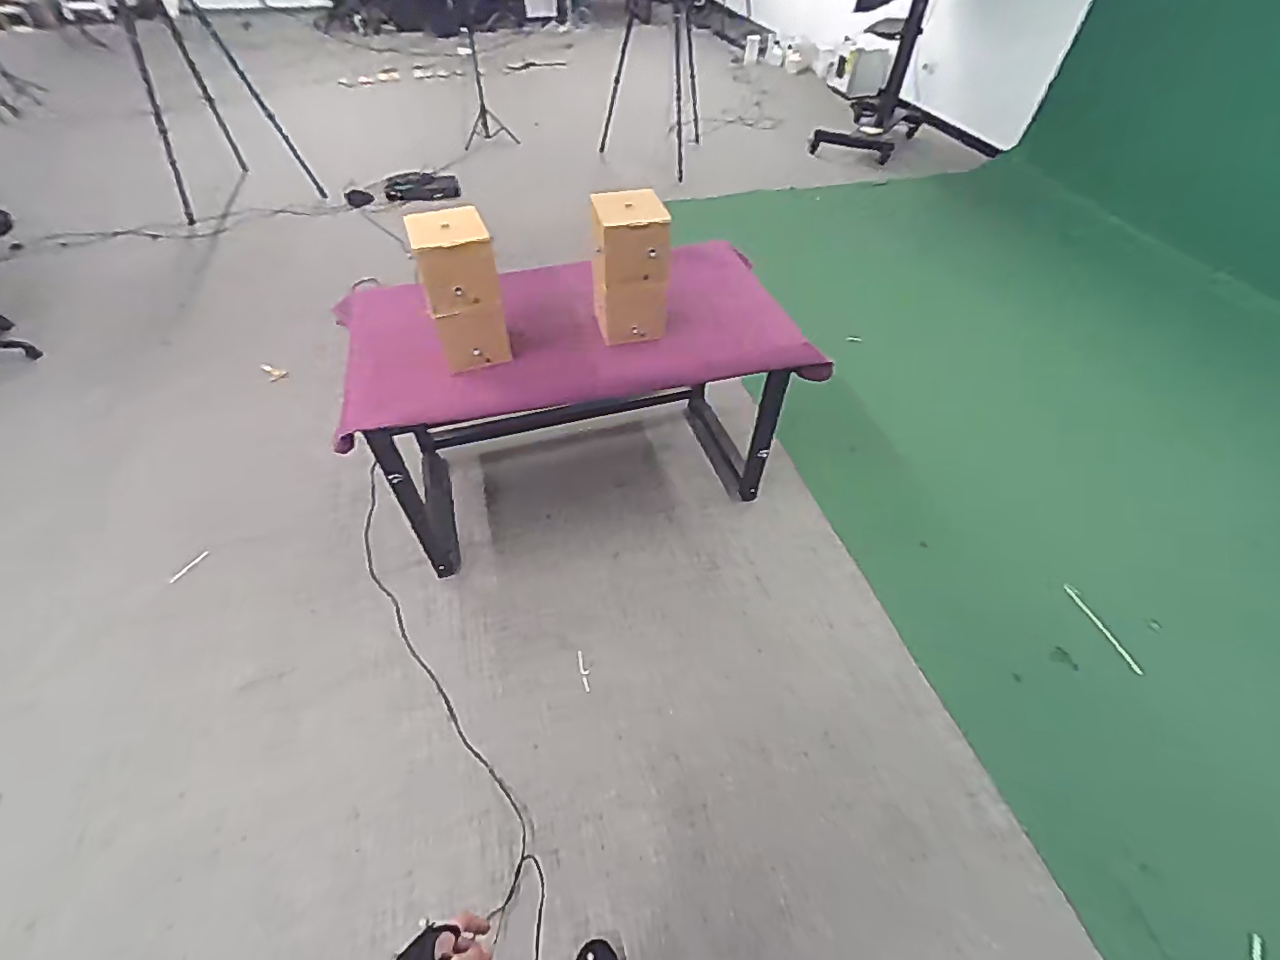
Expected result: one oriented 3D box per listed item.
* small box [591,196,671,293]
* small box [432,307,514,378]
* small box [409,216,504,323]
[{"bbox_3d":[-0.024,-0.589,1.368,0.168,0.176,0.179,-10,51,-10],"label":"small box"},{"bbox_3d":[-0.438,-0.393,1.410,0.168,0.176,0.179,-16,51,-13],"label":"small box"},{"bbox_3d":[-0.434,-0.502,1.289,0.168,0.176,0.179,-17,52,-16],"label":"small box"}]
